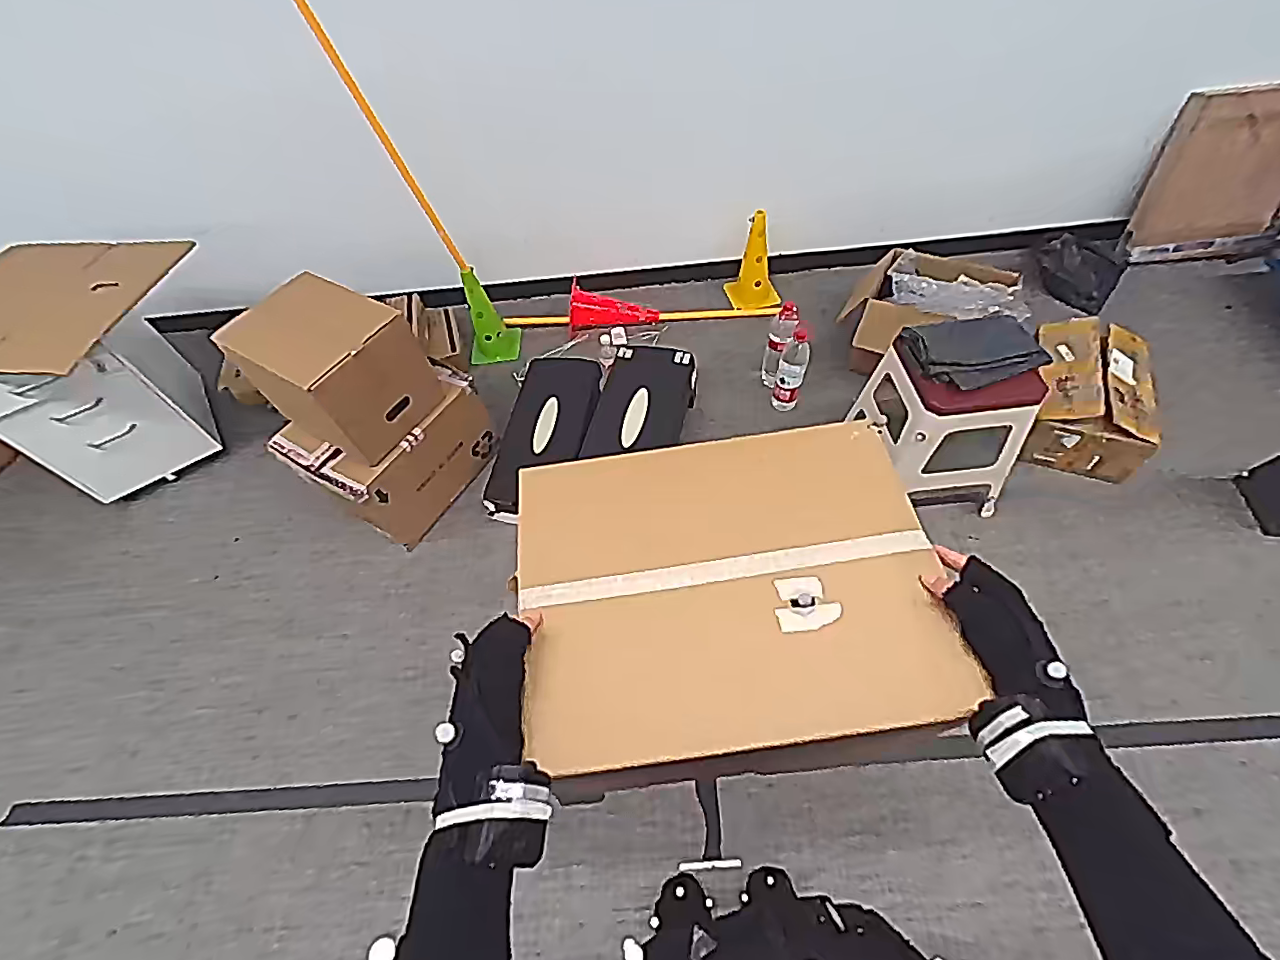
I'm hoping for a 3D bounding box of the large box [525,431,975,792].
[{"bbox_3d":[0.092,0.179,0.676,0.408,0.320,0.320,-8,58,0],"label":"large box"}]
